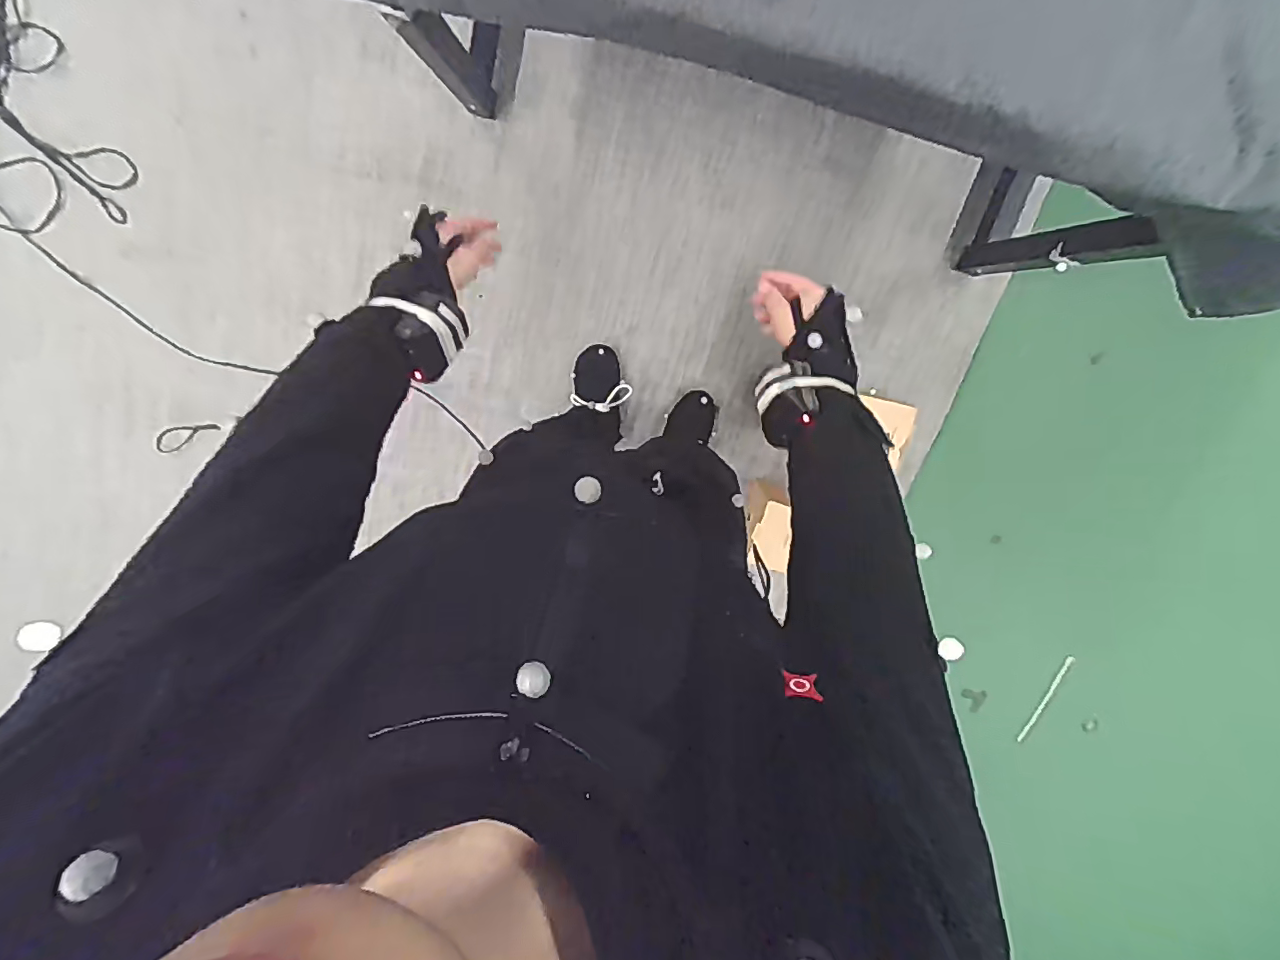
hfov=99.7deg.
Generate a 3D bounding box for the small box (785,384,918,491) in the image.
[{"bbox_3d":[0.417,-0.092,1.096,0.179,0.176,0.168,12,106,-3],"label":"small box"}]

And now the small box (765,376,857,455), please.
[{"bbox_3d":[0.409,-0.140,1.253,0.179,0.176,0.168,12,106,-3],"label":"small box"}]

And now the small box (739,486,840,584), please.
[{"bbox_3d":[0.357,0.128,1.336,0.179,0.176,0.168,17,107,-3],"label":"small box"}]
